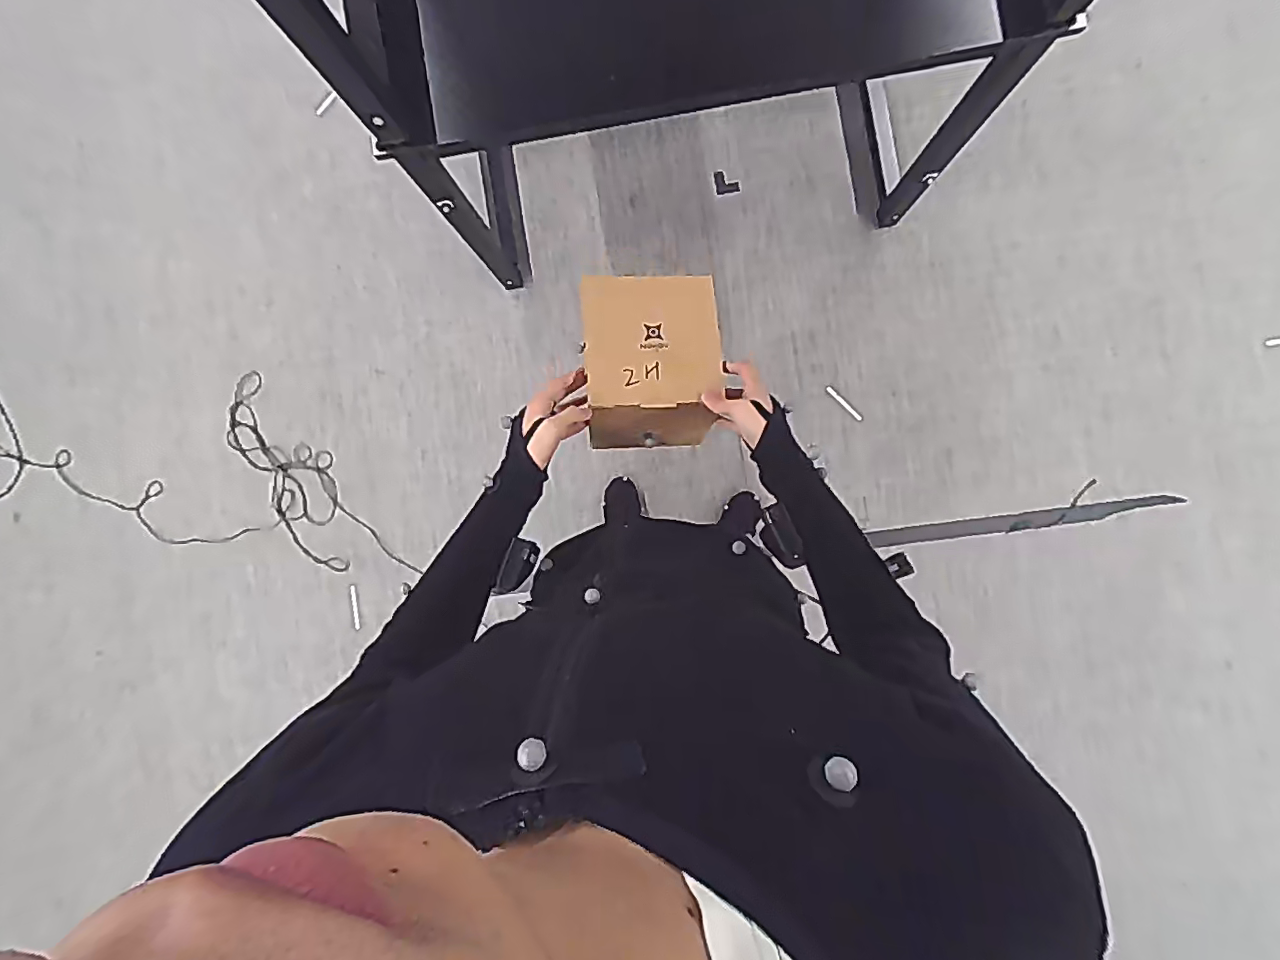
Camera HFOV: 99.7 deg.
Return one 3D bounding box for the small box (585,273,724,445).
[{"bbox_3d":[0.009,-0.156,0.735,0.168,0.176,0.179,-2,77,-5],"label":"small box"}]
